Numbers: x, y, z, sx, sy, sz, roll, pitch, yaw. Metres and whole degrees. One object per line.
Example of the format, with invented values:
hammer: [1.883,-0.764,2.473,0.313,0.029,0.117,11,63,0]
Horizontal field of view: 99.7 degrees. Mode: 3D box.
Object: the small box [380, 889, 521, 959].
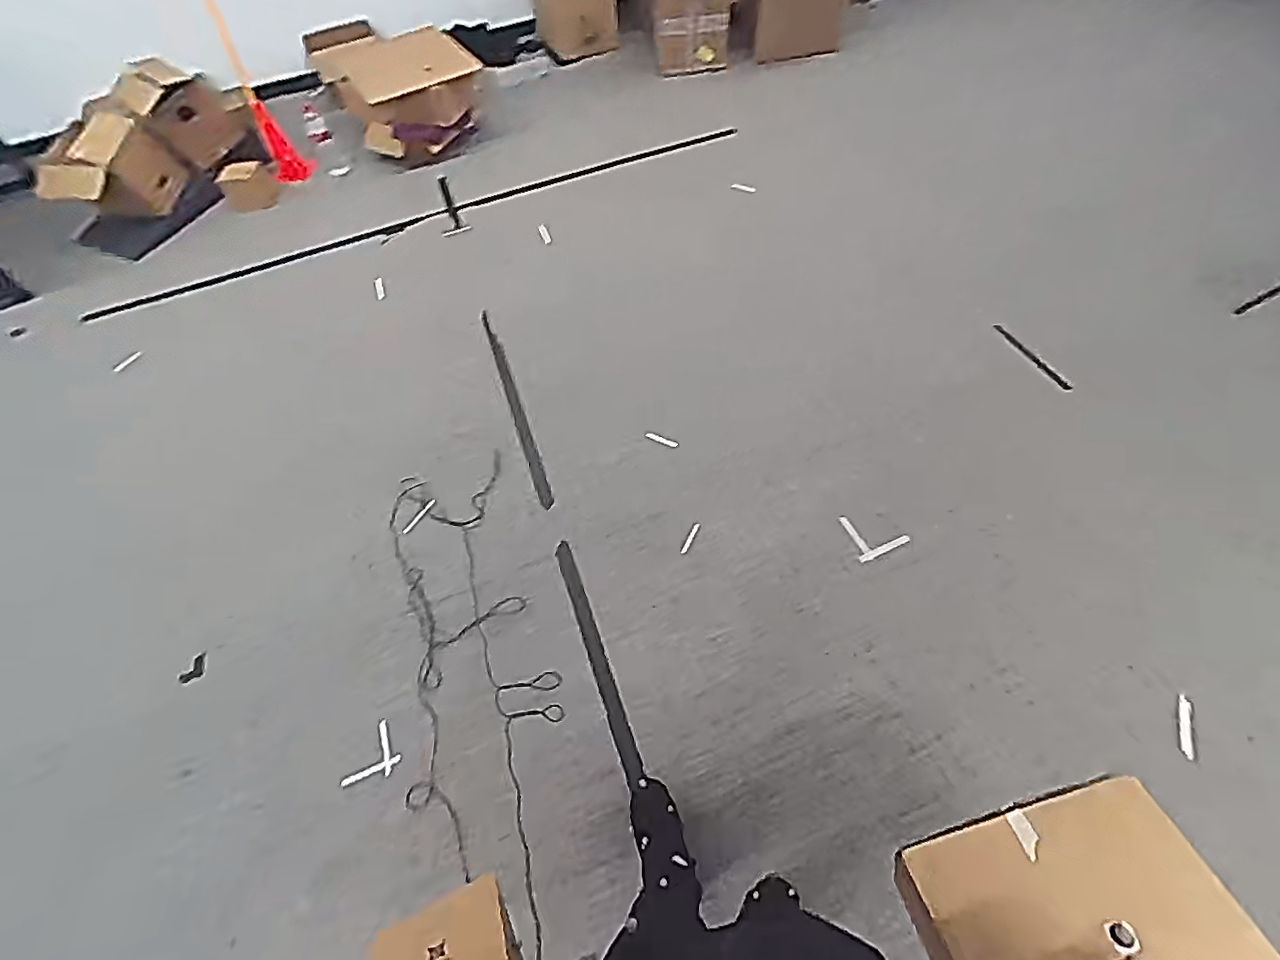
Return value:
small box: [-0.228,0.695,0.688,0.168,0.179,0.176,-16,96,-20]
